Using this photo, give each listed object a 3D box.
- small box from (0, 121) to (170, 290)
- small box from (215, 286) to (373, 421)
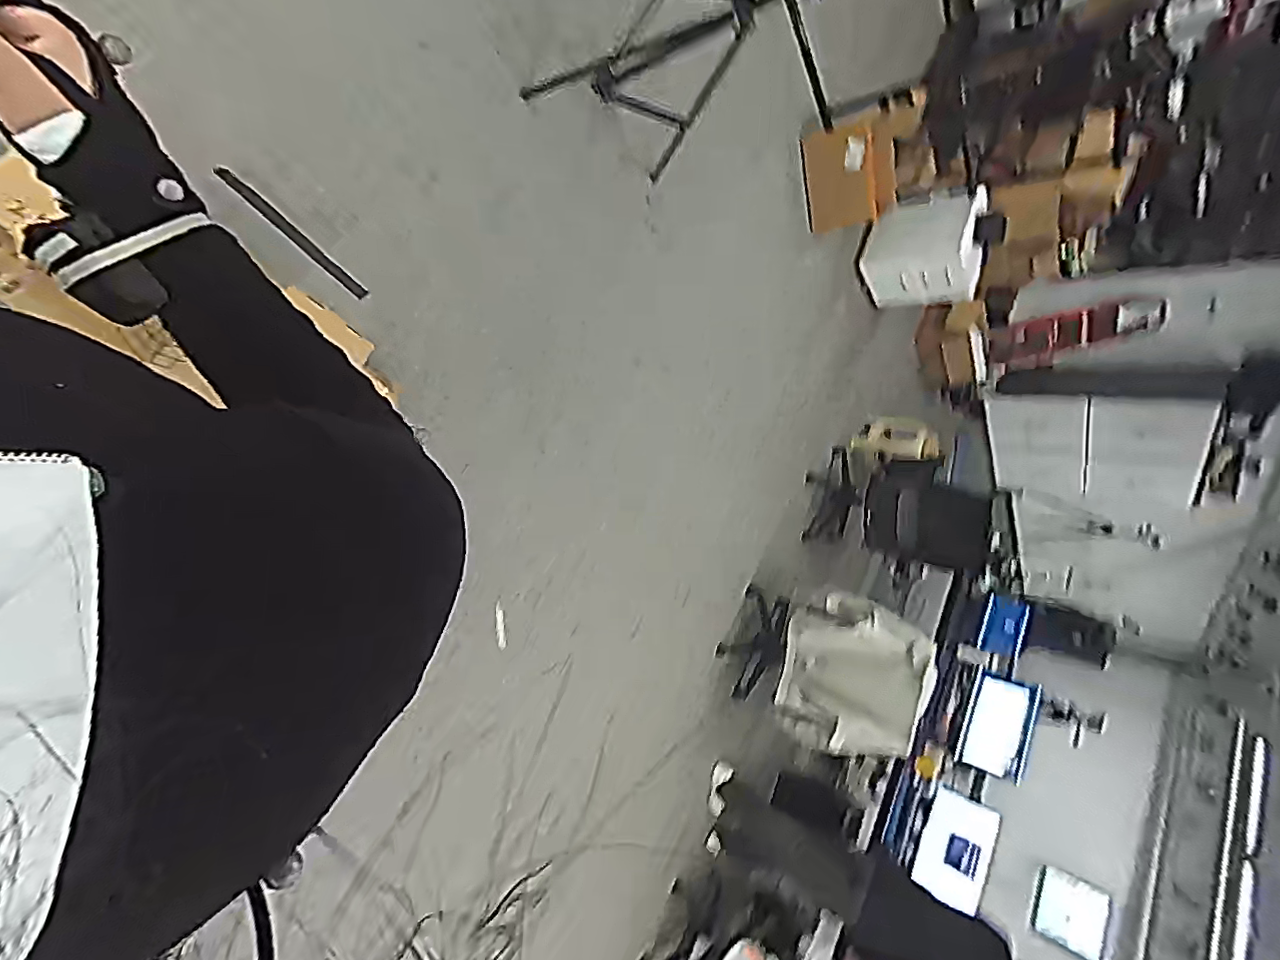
[{"bbox_3d":[-0.935,-0.437,0.886,0.168,0.176,0.179,47,64,-42],"label":"small box"},{"bbox_3d":[-0.645,-0.230,1.005,0.168,0.176,0.179,41,68,-42],"label":"small box"}]
